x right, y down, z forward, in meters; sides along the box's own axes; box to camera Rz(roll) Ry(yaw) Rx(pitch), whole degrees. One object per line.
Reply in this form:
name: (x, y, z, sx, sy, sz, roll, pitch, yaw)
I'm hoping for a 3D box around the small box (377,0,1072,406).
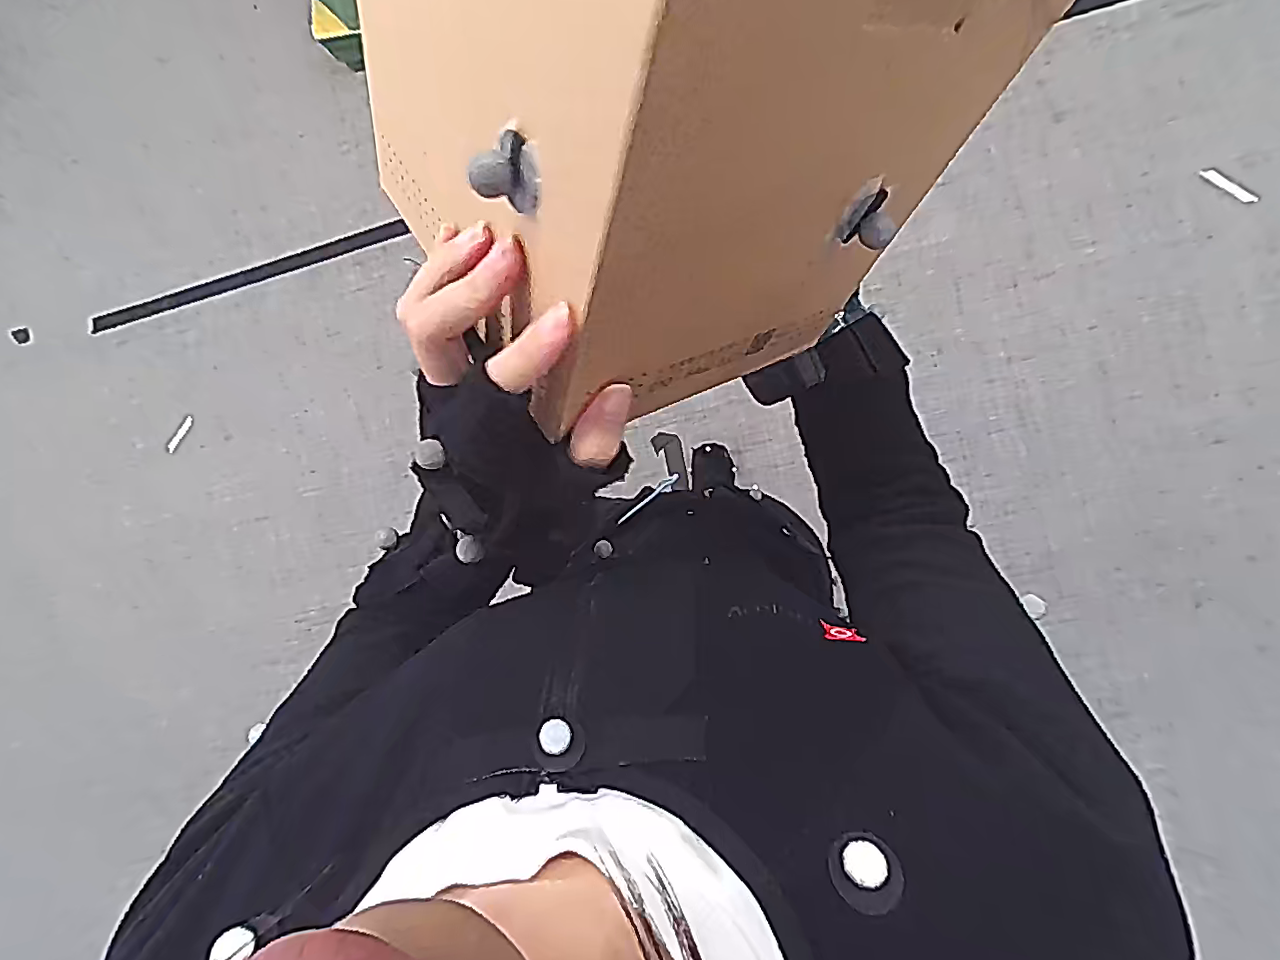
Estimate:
small box: (0.007, -0.151, 0.221, 0.168, 0.176, 0.179, -24, 69, -28)
